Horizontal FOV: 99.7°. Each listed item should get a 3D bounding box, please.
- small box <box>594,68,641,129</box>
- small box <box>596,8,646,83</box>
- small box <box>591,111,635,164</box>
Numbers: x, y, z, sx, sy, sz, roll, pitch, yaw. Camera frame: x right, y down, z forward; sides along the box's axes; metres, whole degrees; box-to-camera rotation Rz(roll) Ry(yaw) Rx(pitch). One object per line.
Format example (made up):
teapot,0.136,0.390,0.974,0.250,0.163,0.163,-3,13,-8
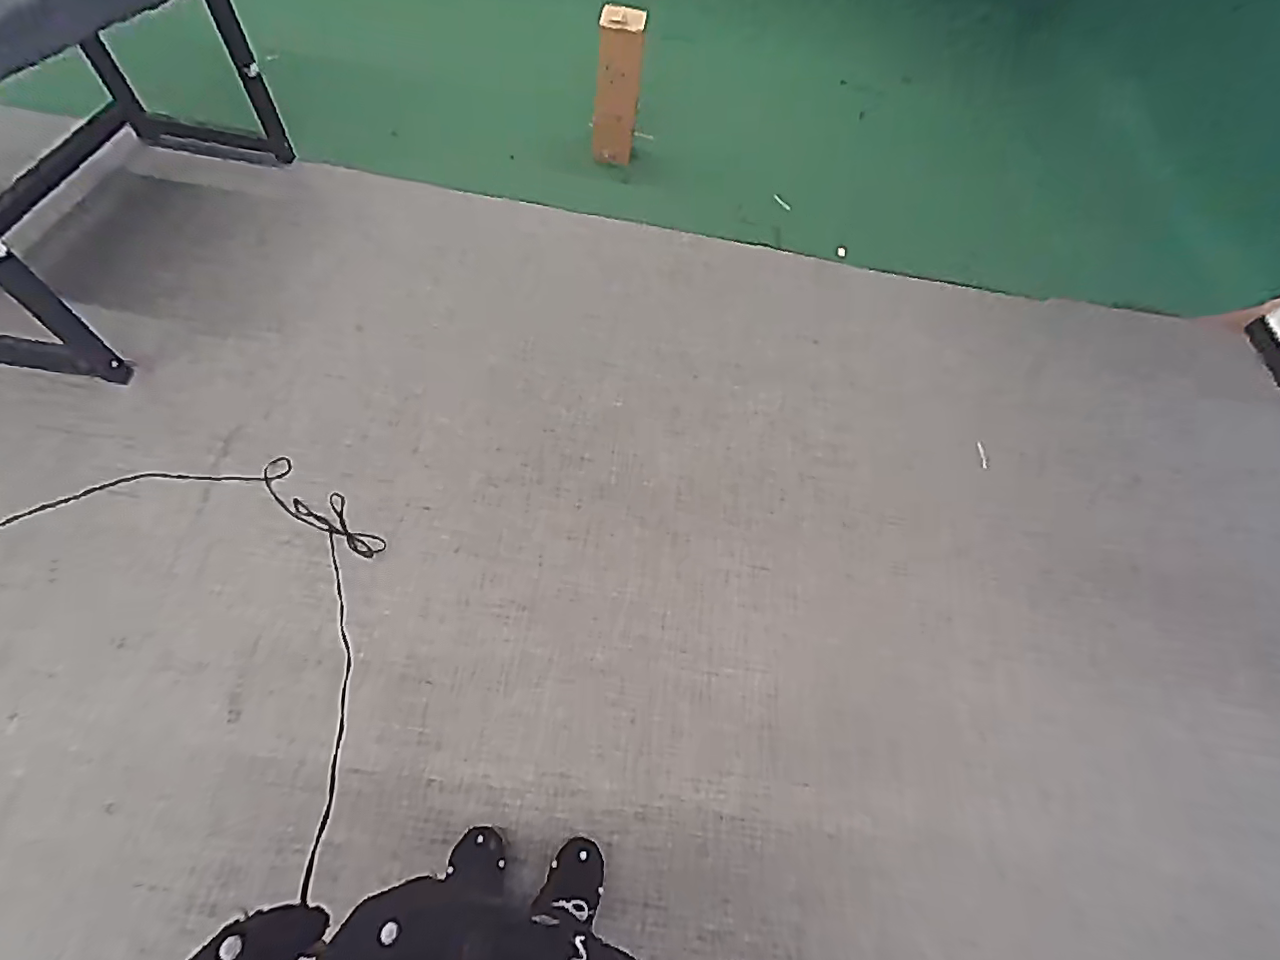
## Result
small box,-0.097,-1.592,2.231,0.168,0.176,0.179,10,59,-2
small box,-0.076,-1.675,2.090,0.168,0.176,0.179,8,59,-3
small box,-0.119,-1.519,2.354,0.168,0.176,0.179,10,60,0
